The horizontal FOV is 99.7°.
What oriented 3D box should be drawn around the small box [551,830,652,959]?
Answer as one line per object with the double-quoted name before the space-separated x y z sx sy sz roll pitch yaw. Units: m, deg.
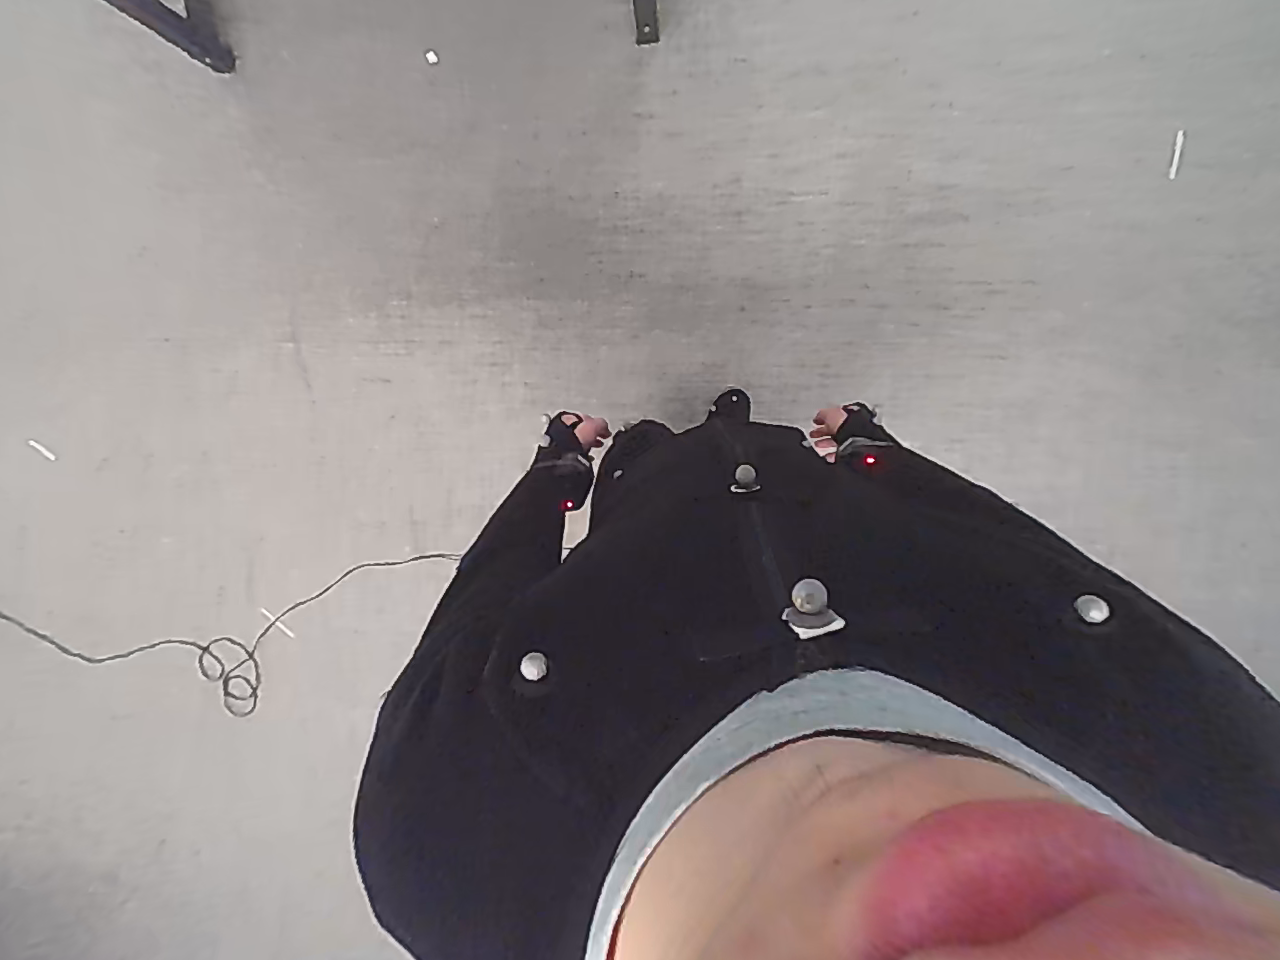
"small box" -0.067 0.824 1.049 0.168 0.176 0.179 -2 102 6
